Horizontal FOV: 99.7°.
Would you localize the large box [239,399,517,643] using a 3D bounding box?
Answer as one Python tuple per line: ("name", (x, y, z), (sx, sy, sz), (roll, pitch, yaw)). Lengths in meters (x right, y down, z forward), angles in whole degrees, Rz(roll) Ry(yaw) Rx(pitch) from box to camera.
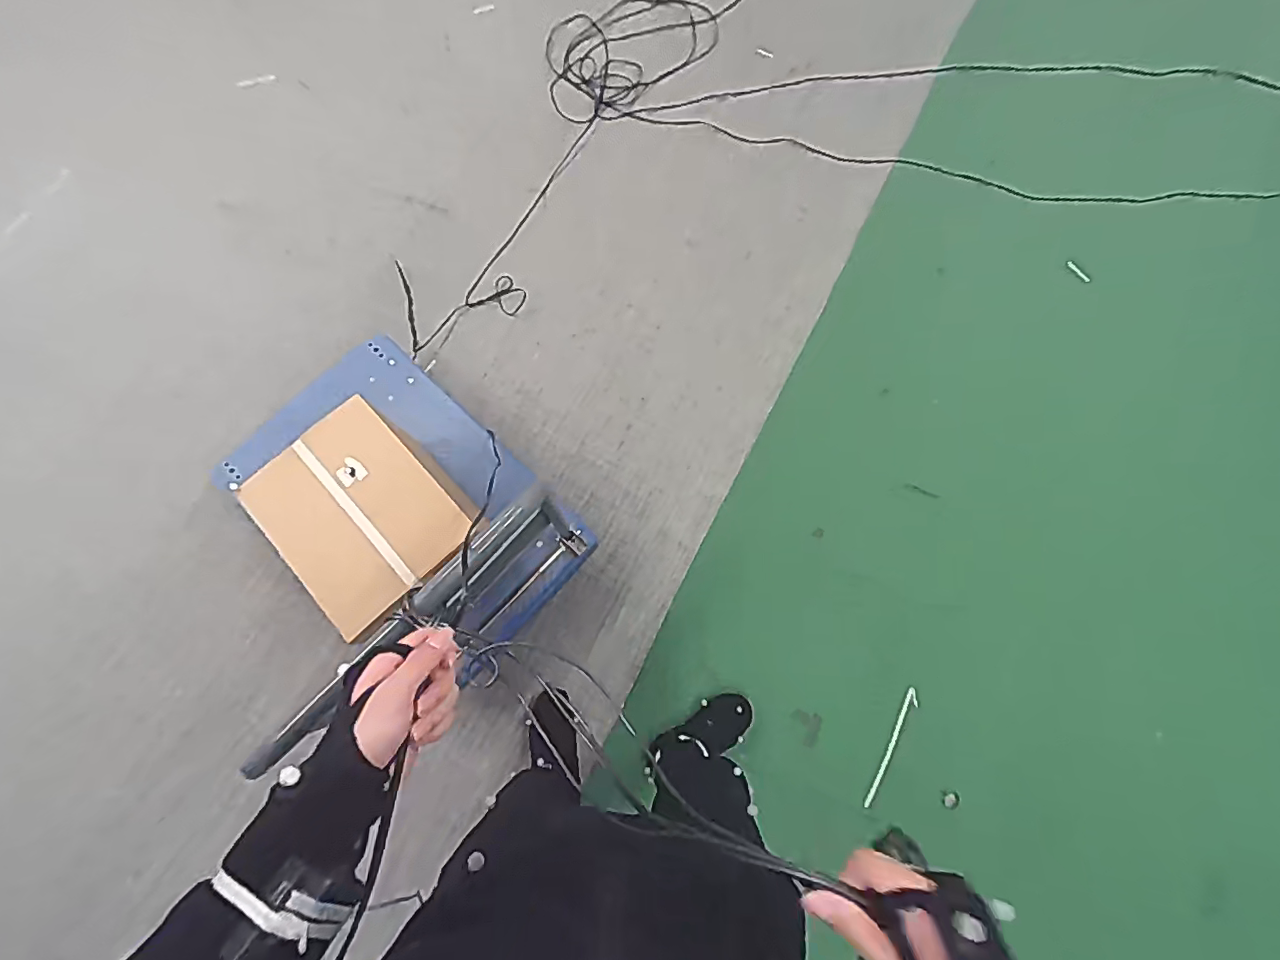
("large box", (-0.546, 0.106, 1.199), (0.320, 0.320, 0.408), (-42, 77, -10))
